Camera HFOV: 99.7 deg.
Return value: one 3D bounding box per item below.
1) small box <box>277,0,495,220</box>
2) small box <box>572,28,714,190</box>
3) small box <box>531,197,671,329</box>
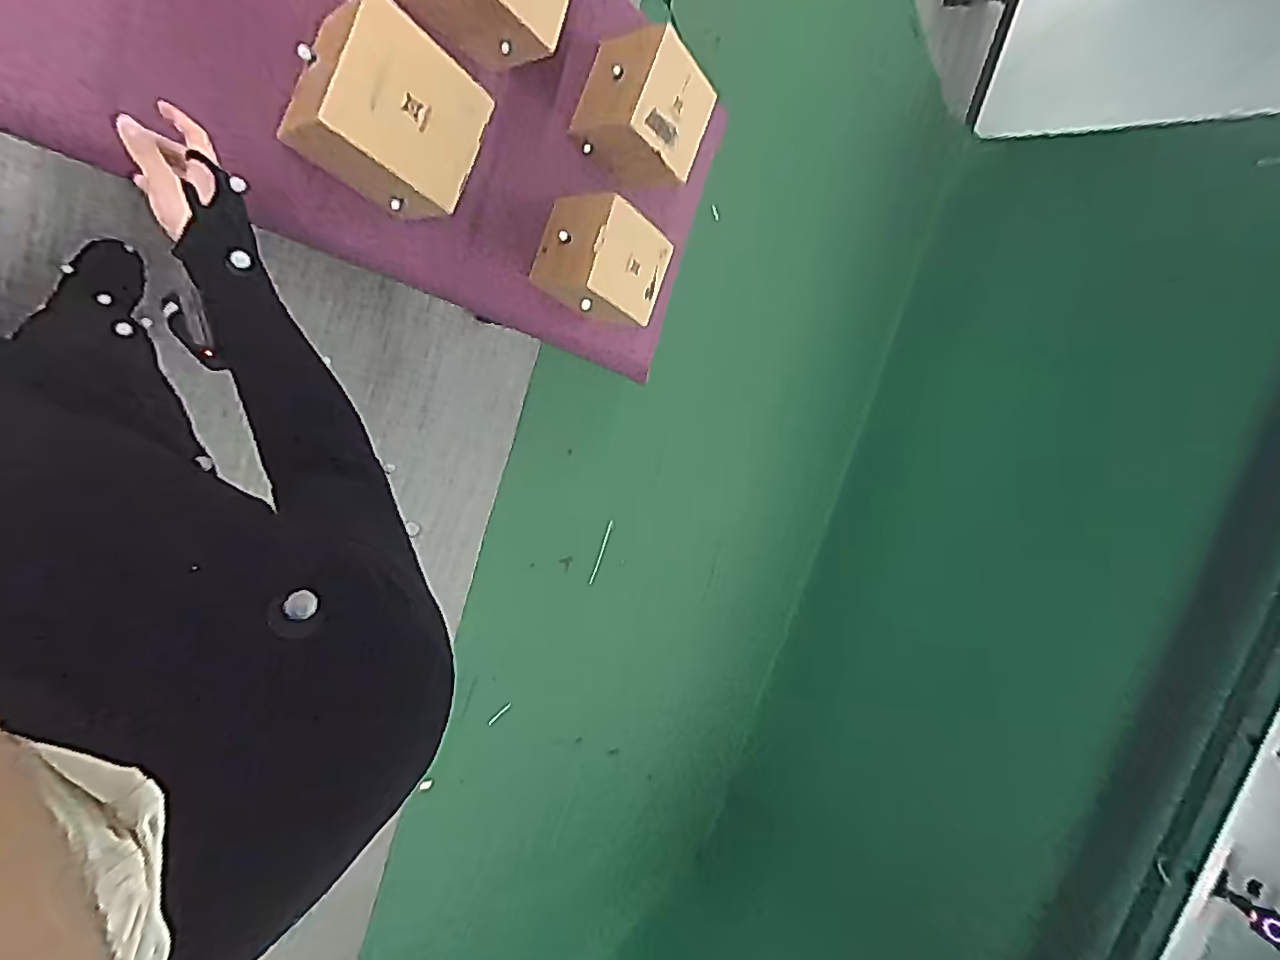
[{"bbox_3d":[-0.331,-0.467,0.708,0.179,0.176,0.168,23,88,-50],"label":"small box"},{"bbox_3d":[0.000,-0.661,0.992,0.168,0.176,0.179,20,91,-51],"label":"small box"},{"bbox_3d":[-0.077,-0.402,1.023,0.179,0.176,0.168,18,92,-50],"label":"small box"}]
